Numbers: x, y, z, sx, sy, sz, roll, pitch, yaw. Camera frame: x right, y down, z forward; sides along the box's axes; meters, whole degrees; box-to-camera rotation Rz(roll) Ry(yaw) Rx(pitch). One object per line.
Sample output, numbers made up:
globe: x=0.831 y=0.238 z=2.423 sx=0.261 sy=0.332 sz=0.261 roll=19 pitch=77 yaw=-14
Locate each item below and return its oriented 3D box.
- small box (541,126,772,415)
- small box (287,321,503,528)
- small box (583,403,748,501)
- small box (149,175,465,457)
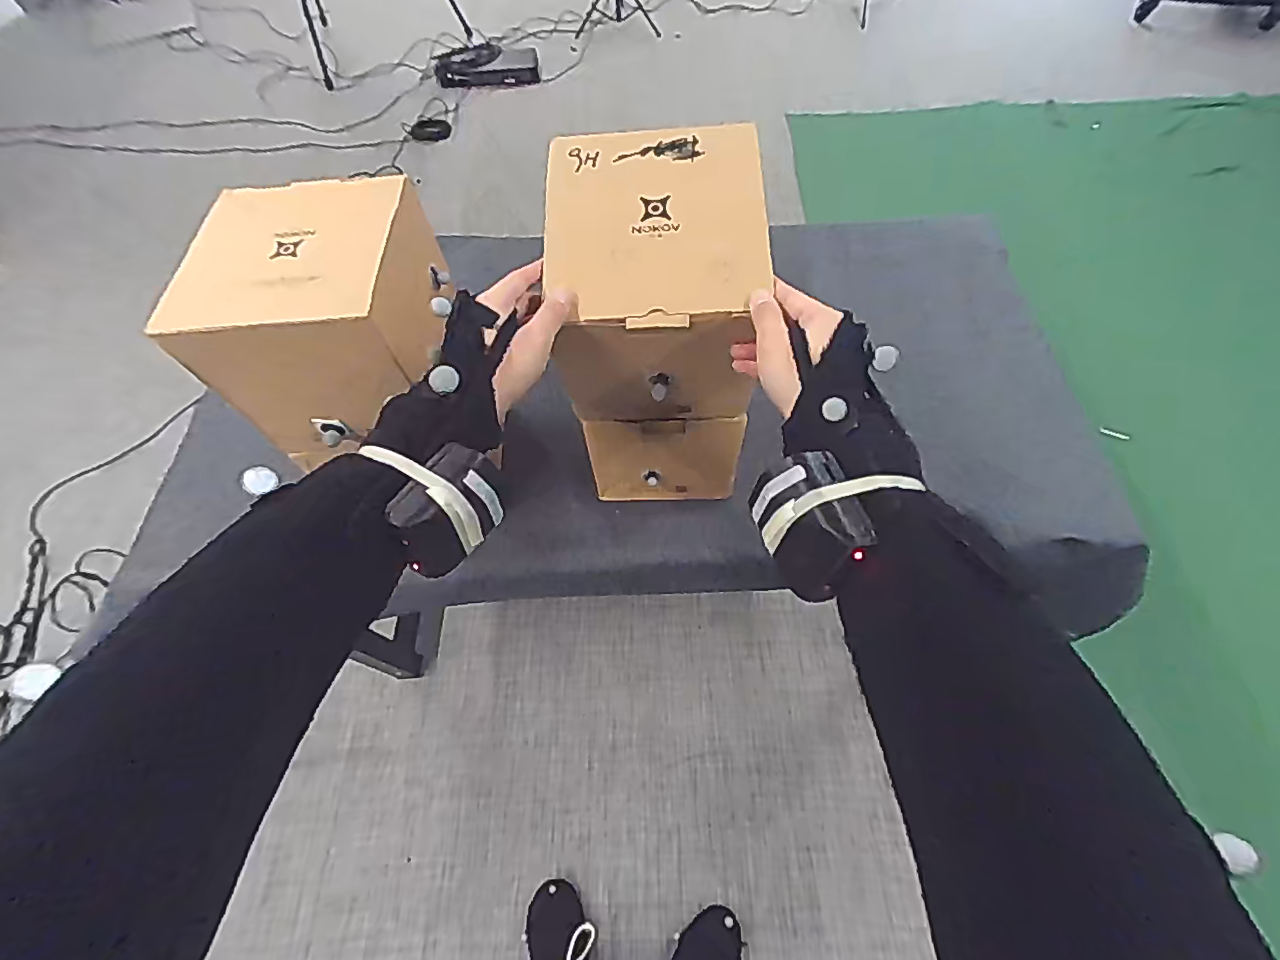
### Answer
small box: x=0.016 y=-0.164 z=0.474 sx=0.168 sy=0.176 sz=0.179 roll=-2 pitch=72 yaw=3
small box: x=-0.265 y=-0.060 z=0.635 sx=0.168 sy=0.176 sz=0.179 roll=-4 pitch=60 yaw=0
small box: x=0.027 y=-0.091 z=0.642 sx=0.168 sy=0.176 sz=0.179 roll=-1 pitch=60 yaw=2
small box: x=-0.271 y=-0.142 z=0.495 sx=0.168 sy=0.176 sz=0.179 roll=-6 pitch=61 yaw=1
